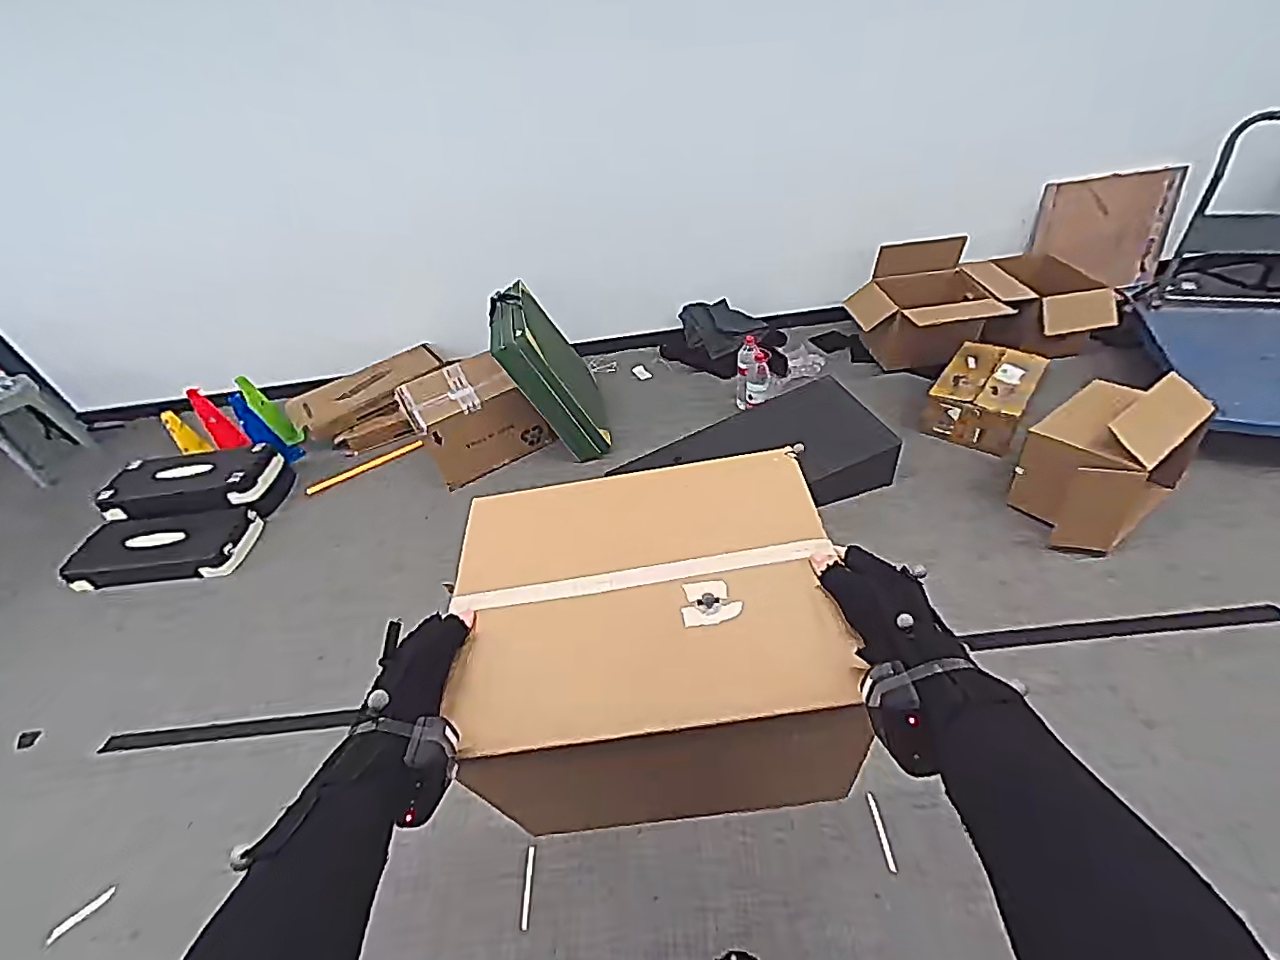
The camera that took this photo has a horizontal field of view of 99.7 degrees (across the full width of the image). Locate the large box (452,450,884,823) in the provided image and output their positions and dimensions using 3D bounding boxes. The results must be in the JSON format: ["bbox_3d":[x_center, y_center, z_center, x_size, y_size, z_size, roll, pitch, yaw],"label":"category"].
[{"bbox_3d":[0.028,0.203,0.691,0.408,0.320,0.320,-9,46,2],"label":"large box"}]
